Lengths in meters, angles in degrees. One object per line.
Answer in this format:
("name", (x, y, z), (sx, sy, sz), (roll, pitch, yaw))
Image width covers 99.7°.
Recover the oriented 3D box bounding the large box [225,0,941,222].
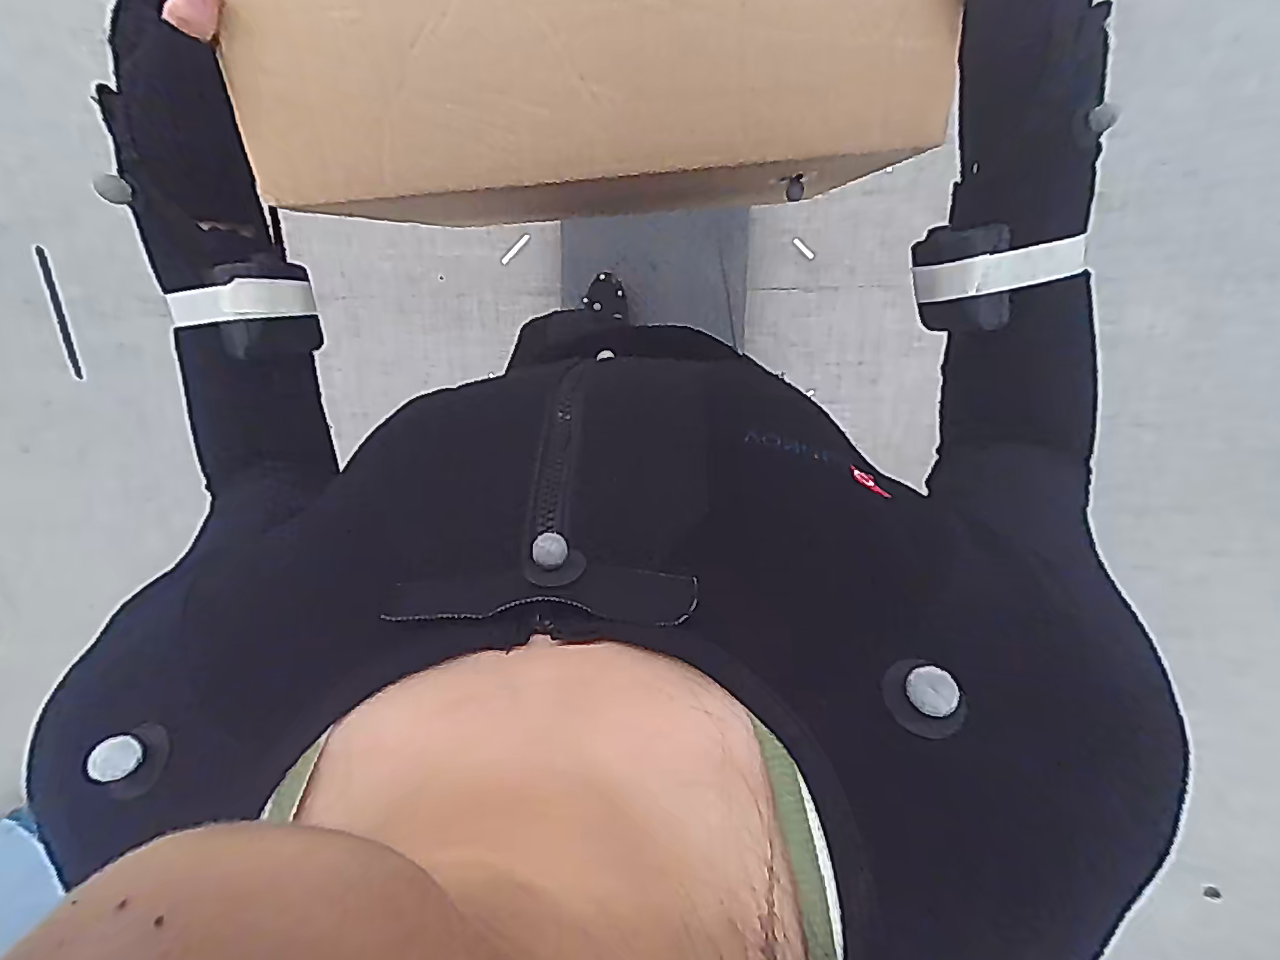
("large box", (-0.032, -0.386, 0.411), (0.408, 0.320, 0.320), (-3, 112, 5))
